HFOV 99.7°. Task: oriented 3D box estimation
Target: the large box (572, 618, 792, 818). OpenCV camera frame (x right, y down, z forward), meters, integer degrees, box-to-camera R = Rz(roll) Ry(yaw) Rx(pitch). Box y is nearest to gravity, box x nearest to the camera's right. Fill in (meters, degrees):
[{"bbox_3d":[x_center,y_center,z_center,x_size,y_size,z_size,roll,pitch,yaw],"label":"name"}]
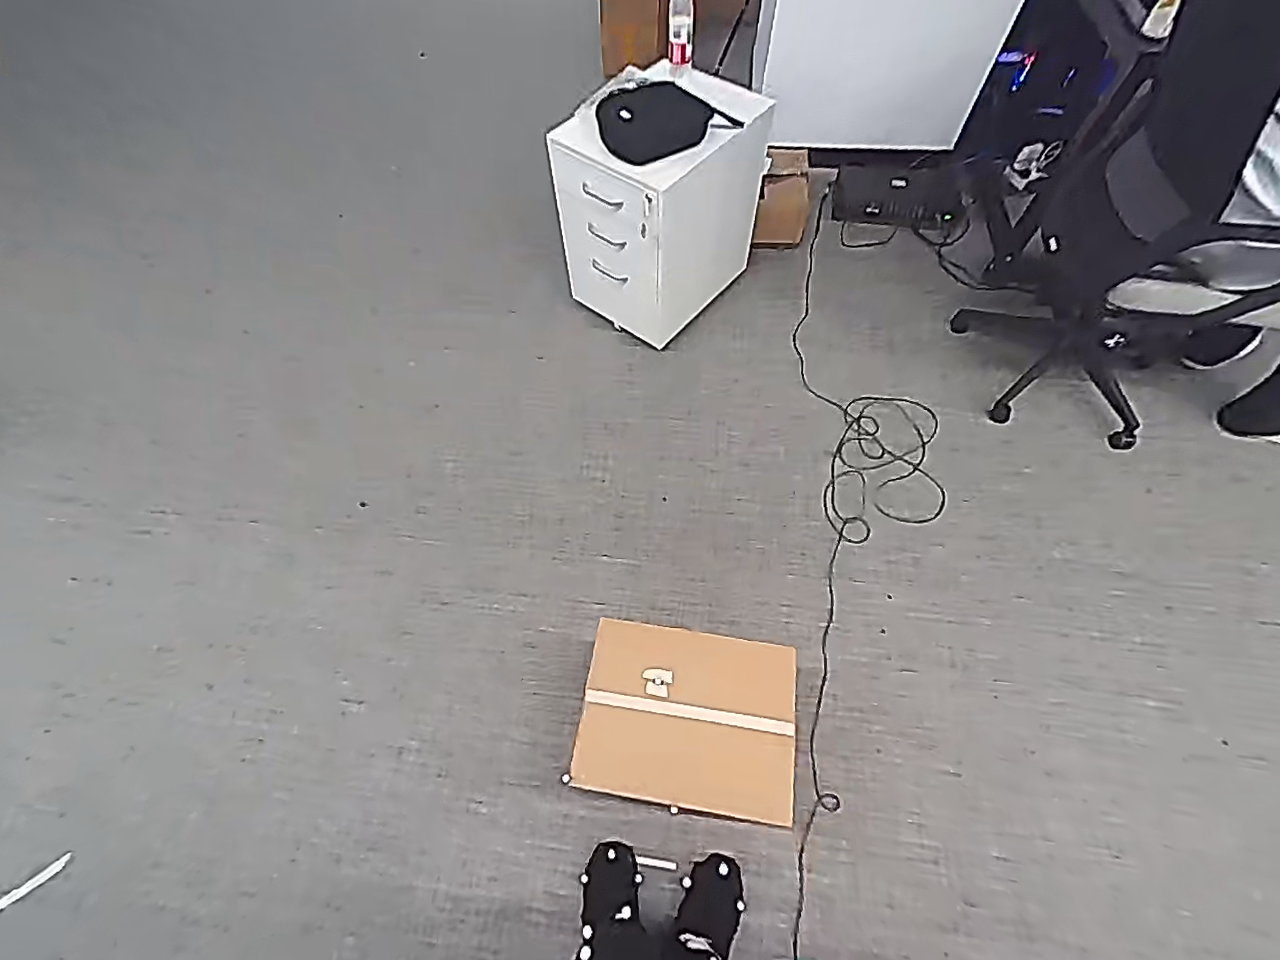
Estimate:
[{"bbox_3d":[0.098,0.513,1.174,0.408,0.320,0.320,7,61,6],"label":"large box"}]
